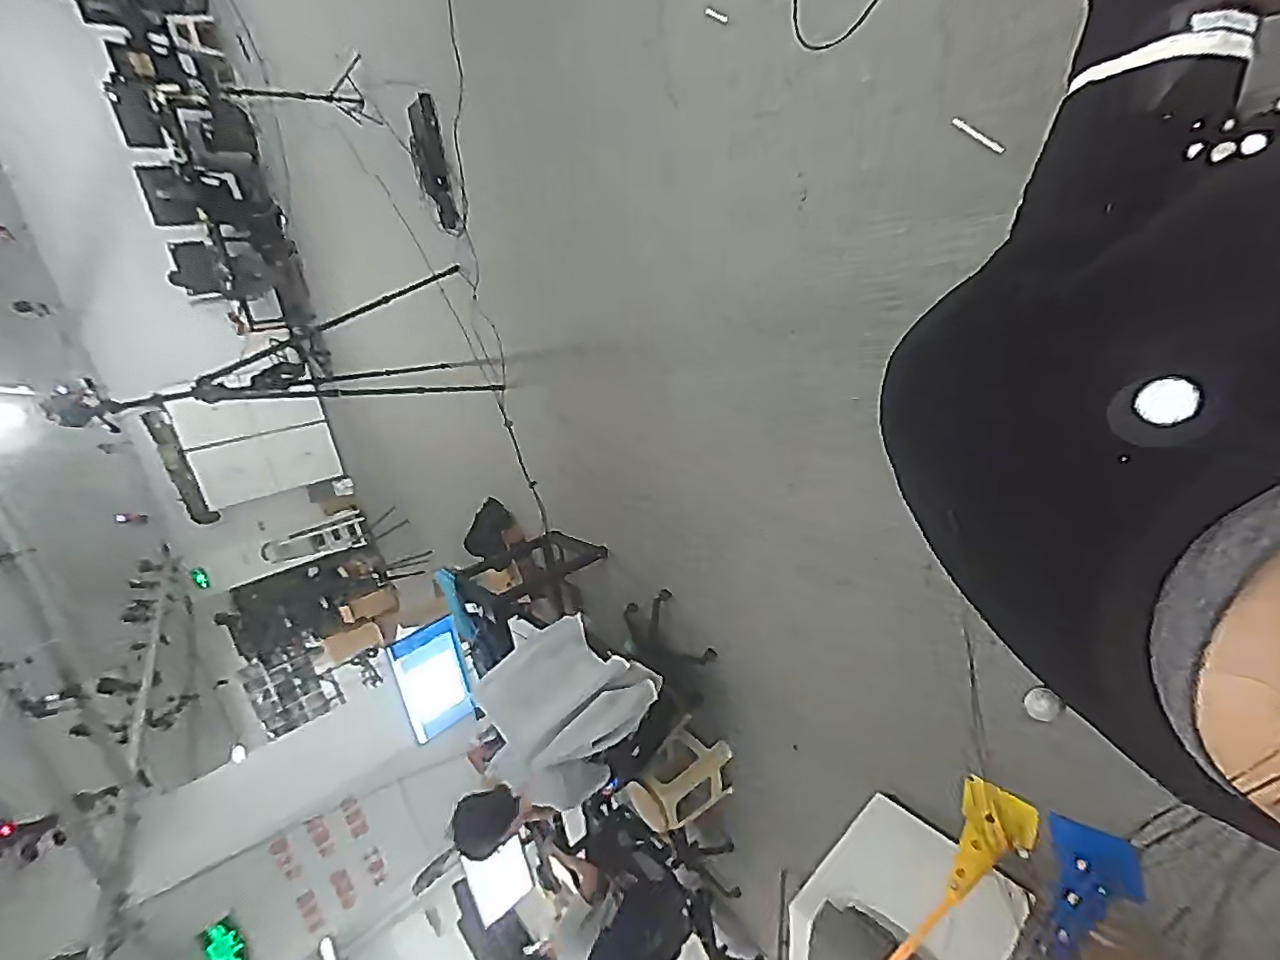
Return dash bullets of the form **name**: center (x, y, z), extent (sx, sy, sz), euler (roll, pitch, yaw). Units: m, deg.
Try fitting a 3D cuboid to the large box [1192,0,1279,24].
- **large box**: center (0.600, -0.482, 0.258), extent (0.408, 0.320, 0.320), euler (15, 124, 35)
